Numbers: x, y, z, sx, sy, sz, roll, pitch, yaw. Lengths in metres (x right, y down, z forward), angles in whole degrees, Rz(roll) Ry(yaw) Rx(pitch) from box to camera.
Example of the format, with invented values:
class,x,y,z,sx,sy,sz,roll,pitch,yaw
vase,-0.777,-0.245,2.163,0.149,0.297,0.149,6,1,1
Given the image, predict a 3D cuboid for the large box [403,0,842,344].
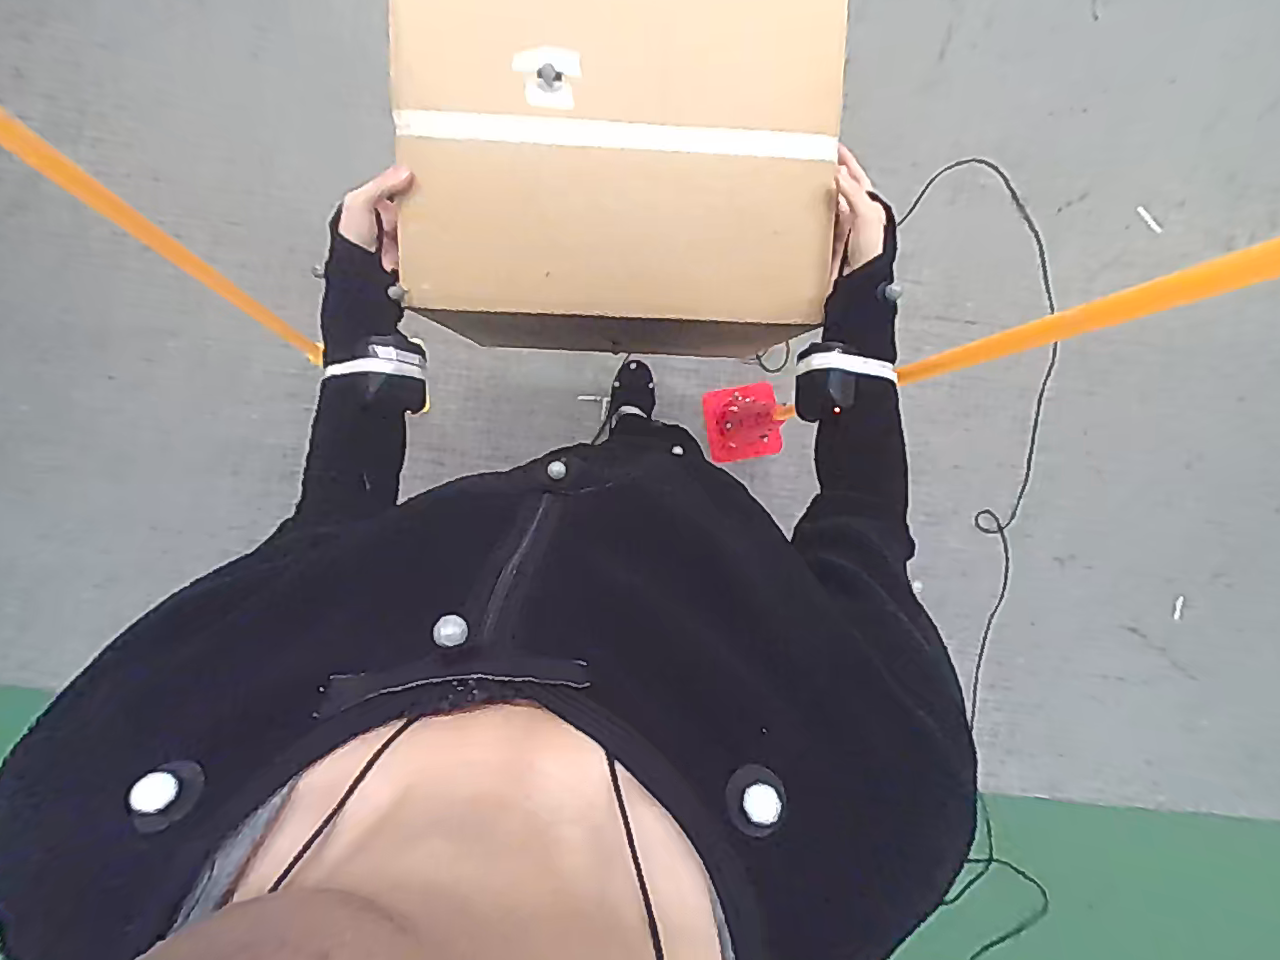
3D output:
class,x,y,z,sx,sy,sz,roll,pitch,yaw
large box,-0.020,-0.338,0.648,0.408,0.320,0.320,1,96,-3
